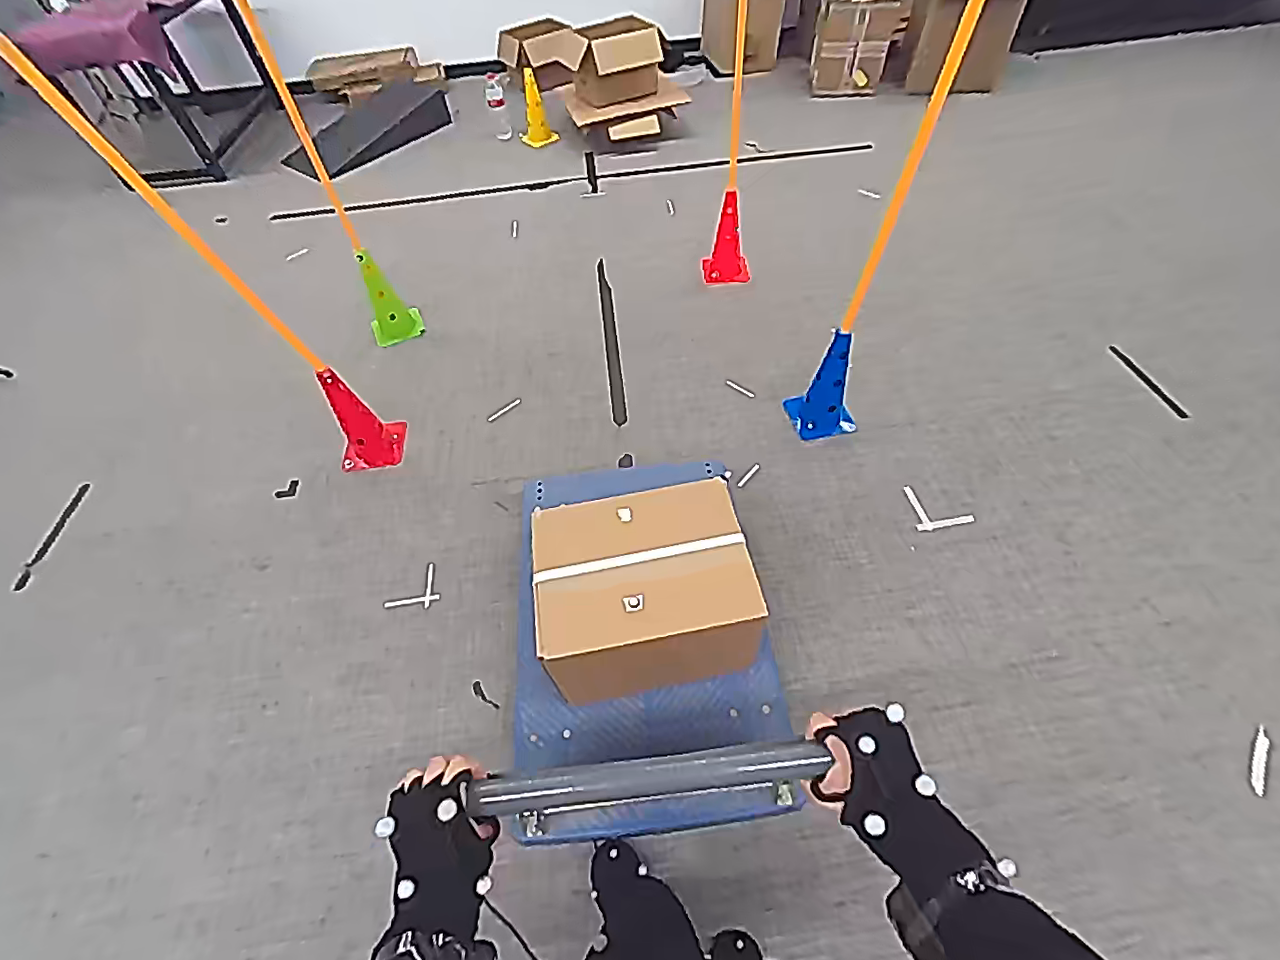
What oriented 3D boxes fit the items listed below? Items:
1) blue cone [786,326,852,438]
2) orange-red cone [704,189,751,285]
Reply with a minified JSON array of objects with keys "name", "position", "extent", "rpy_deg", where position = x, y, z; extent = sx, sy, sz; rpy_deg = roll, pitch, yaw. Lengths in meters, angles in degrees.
[{"name":"blue cone","position":[0.612,-0.325,1.743],"extent":[0.193,0.380,0.192],"rpy_deg":[-10,52,-4]},{"name":"orange-red cone","position":[0.378,-1.031,2.268],"extent":[0.199,0.360,0.198],"rpy_deg":[-1,54,2]}]
